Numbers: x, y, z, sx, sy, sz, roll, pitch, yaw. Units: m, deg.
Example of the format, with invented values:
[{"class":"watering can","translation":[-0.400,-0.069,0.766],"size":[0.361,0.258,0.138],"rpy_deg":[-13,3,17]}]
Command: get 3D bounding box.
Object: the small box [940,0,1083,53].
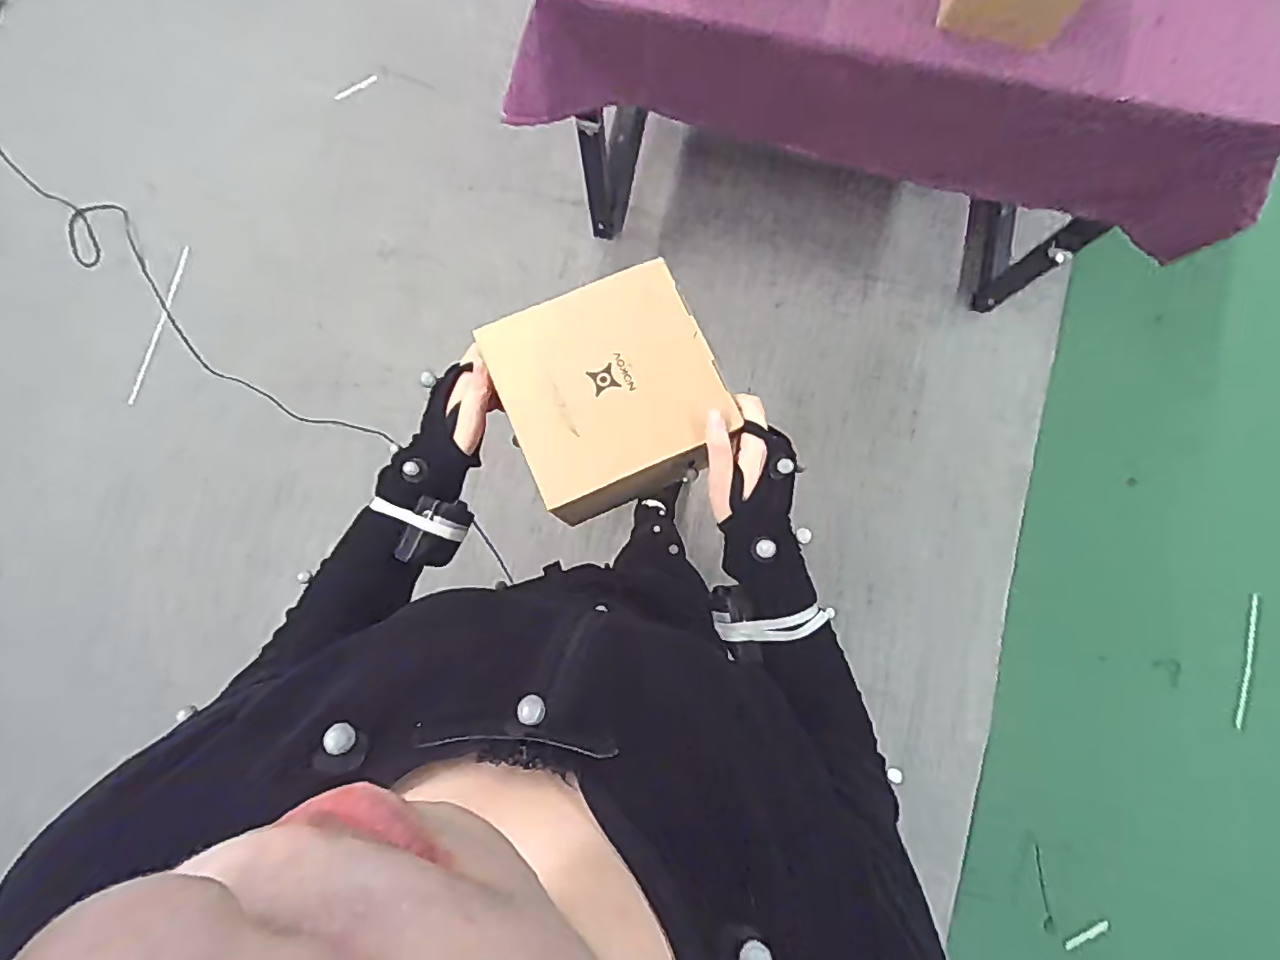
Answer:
[{"class":"small box","translation":[0.577,-0.780,0.793],"size":[0.179,0.176,0.168],"rpy_deg":[14,84,1]}]
